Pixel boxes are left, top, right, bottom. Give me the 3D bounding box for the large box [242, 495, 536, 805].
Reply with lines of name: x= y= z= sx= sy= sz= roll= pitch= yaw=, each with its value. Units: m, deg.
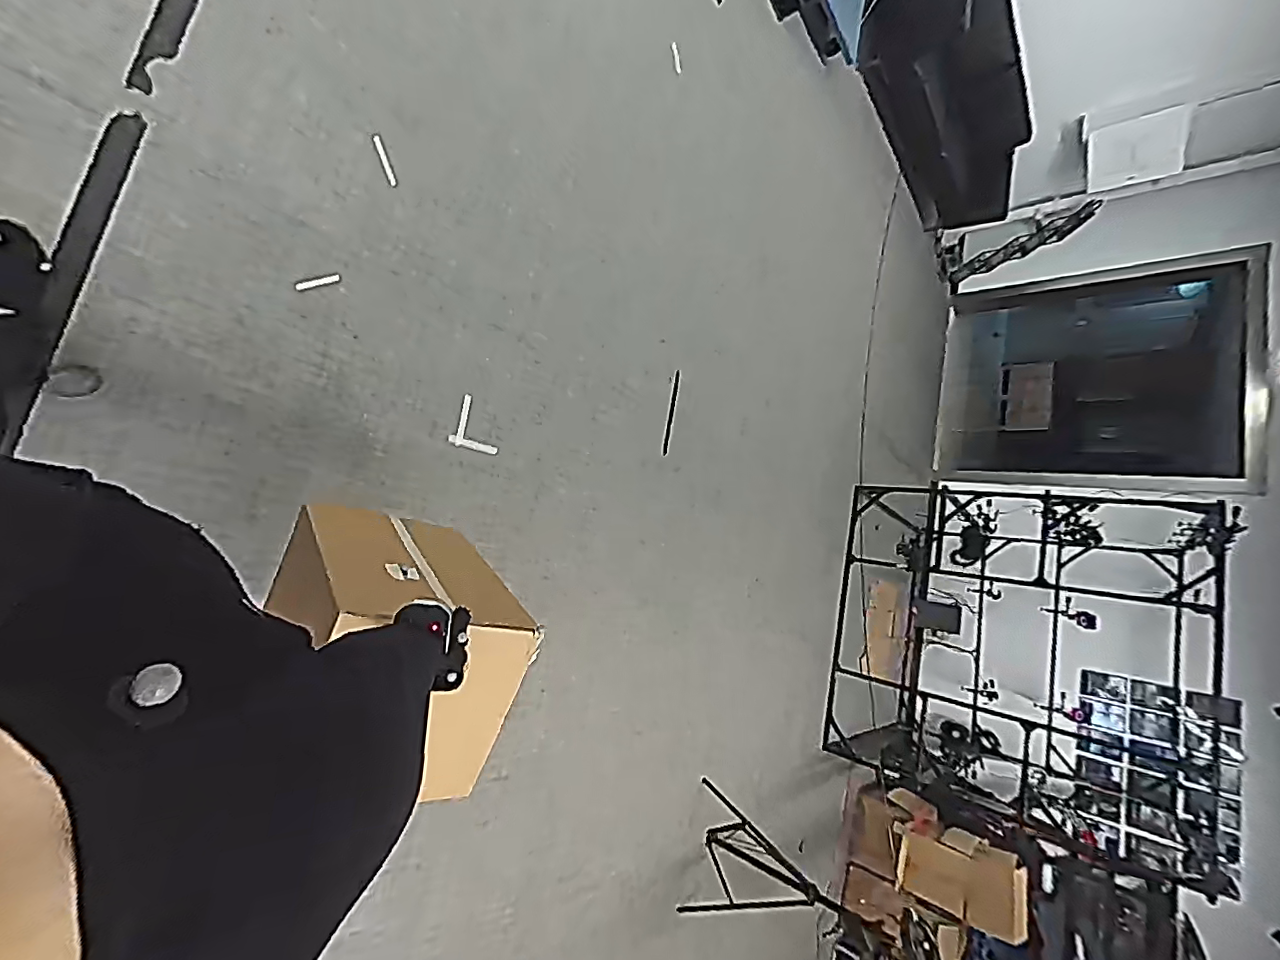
large box: x=-0.456 y=0.271 z=0.950 sx=0.320 sy=0.408 sz=0.320 roll=20 pitch=98 yaw=-42
